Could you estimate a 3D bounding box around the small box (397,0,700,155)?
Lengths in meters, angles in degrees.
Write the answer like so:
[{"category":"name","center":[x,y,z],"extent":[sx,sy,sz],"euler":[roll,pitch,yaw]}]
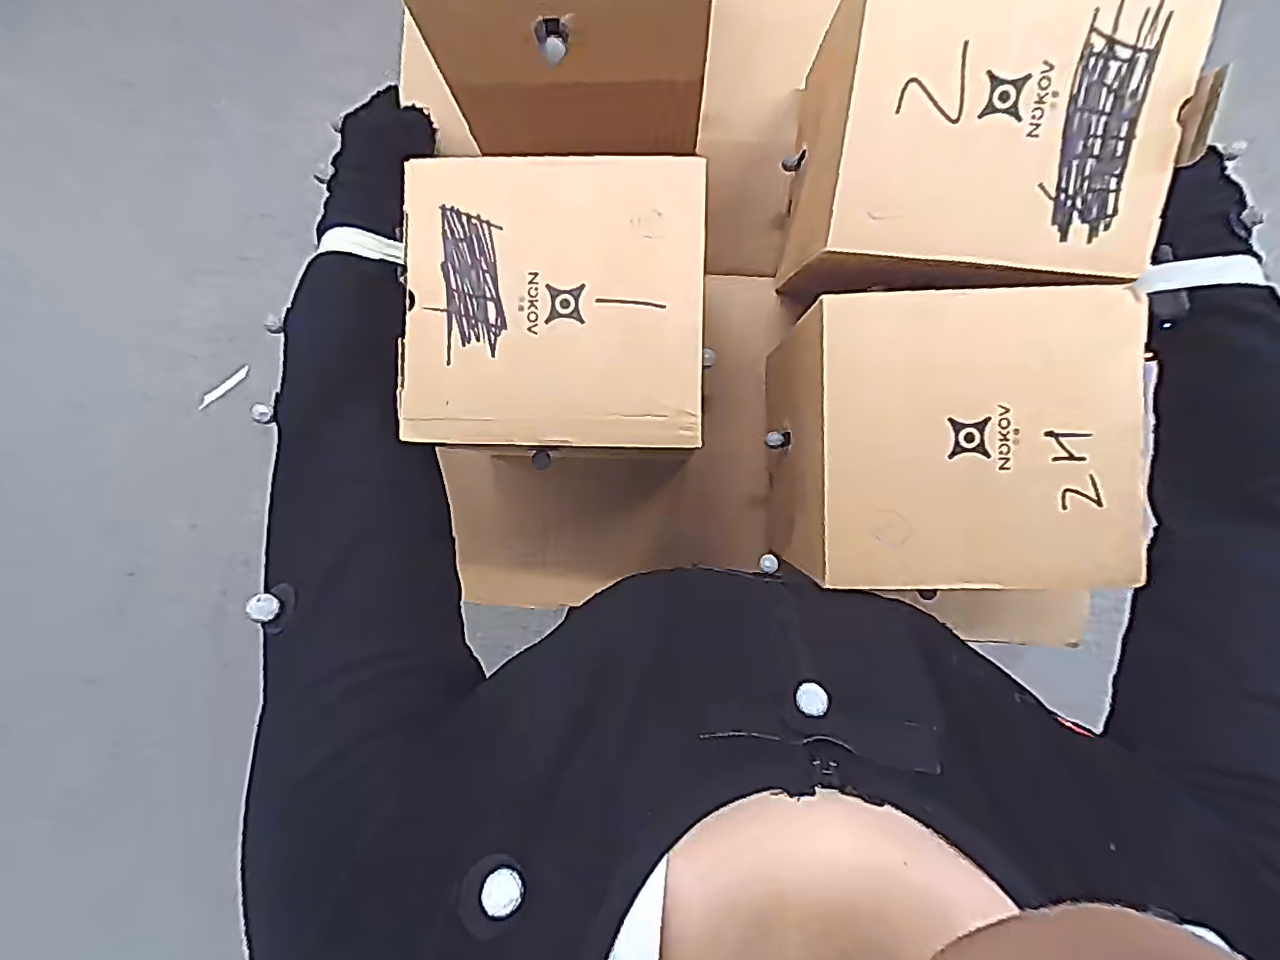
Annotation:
[{"category":"small box","center":[-0.051,-0.352,0.366],"extent":[0.179,0.176,0.168],"euler":[-2,89,3]}]
